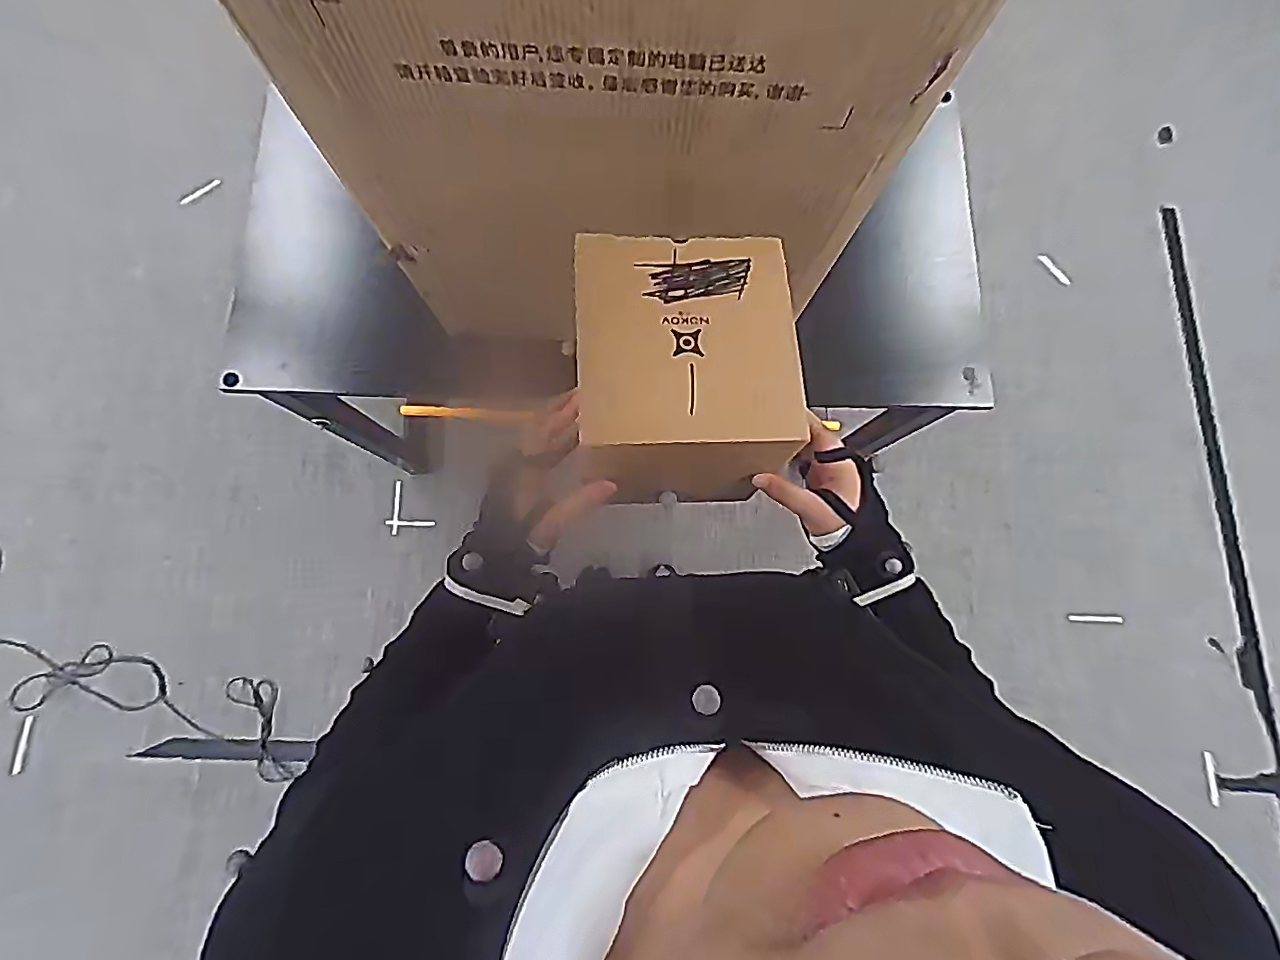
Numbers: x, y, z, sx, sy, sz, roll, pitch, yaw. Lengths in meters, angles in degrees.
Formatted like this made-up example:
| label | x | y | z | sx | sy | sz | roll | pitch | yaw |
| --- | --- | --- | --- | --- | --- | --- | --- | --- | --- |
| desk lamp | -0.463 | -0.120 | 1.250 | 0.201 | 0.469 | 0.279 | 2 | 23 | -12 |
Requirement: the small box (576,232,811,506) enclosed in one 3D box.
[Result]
| label | x | y | z | sx | sy | sz | roll | pitch | yaw |
| --- | --- | --- | --- | --- | --- | --- | --- | --- | --- |
| small box | 0.028 | -0.083 | 0.469 | 0.168 | 0.176 | 0.179 | -1 | 73 | -5 |
